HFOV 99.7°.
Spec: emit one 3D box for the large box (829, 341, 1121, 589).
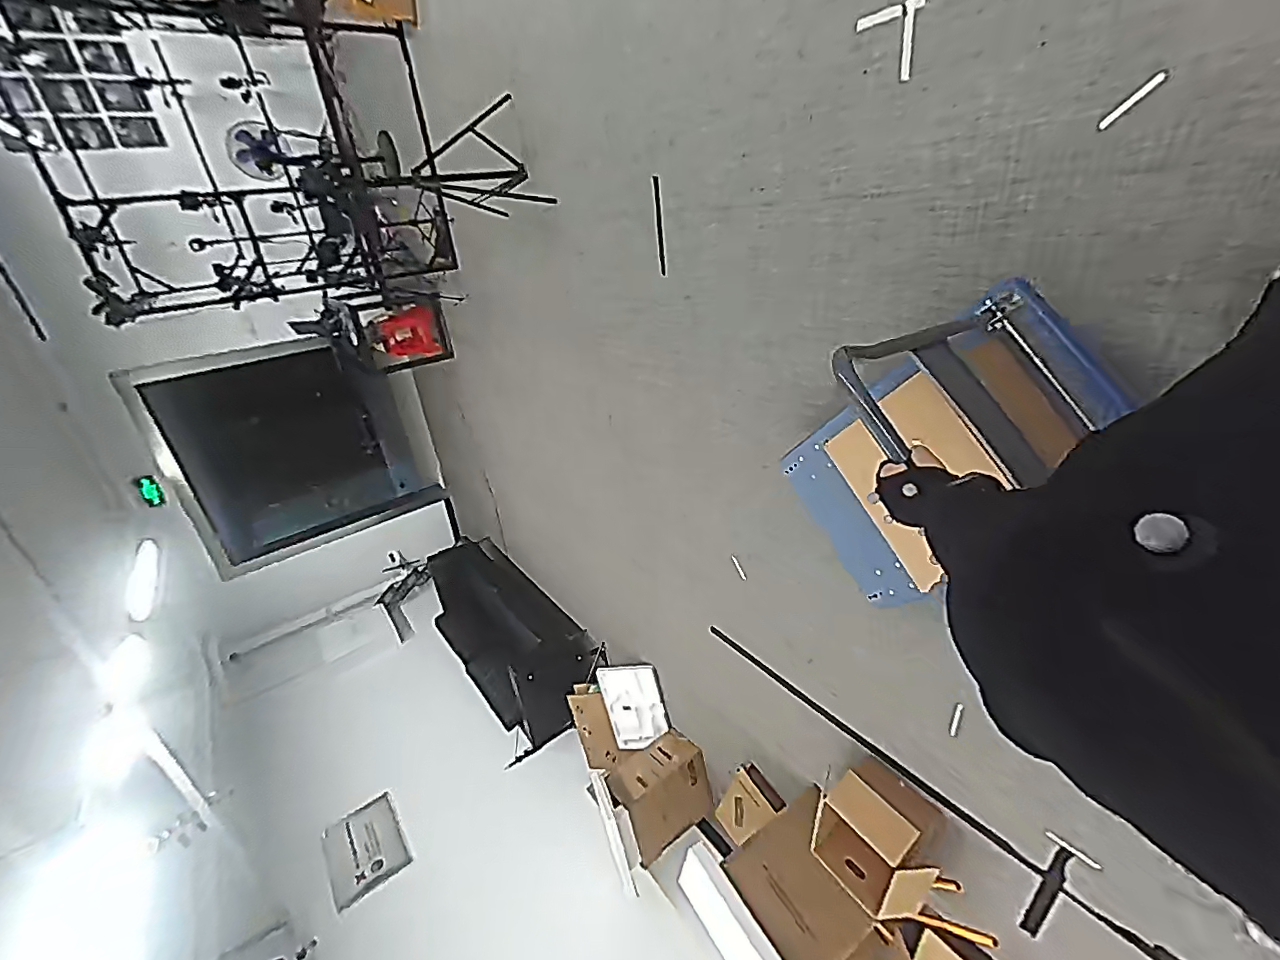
[{"bbox_3d":[0.718,-0.032,1.196,0.408,0.320,0.320,61,149,13],"label":"large box"}]
